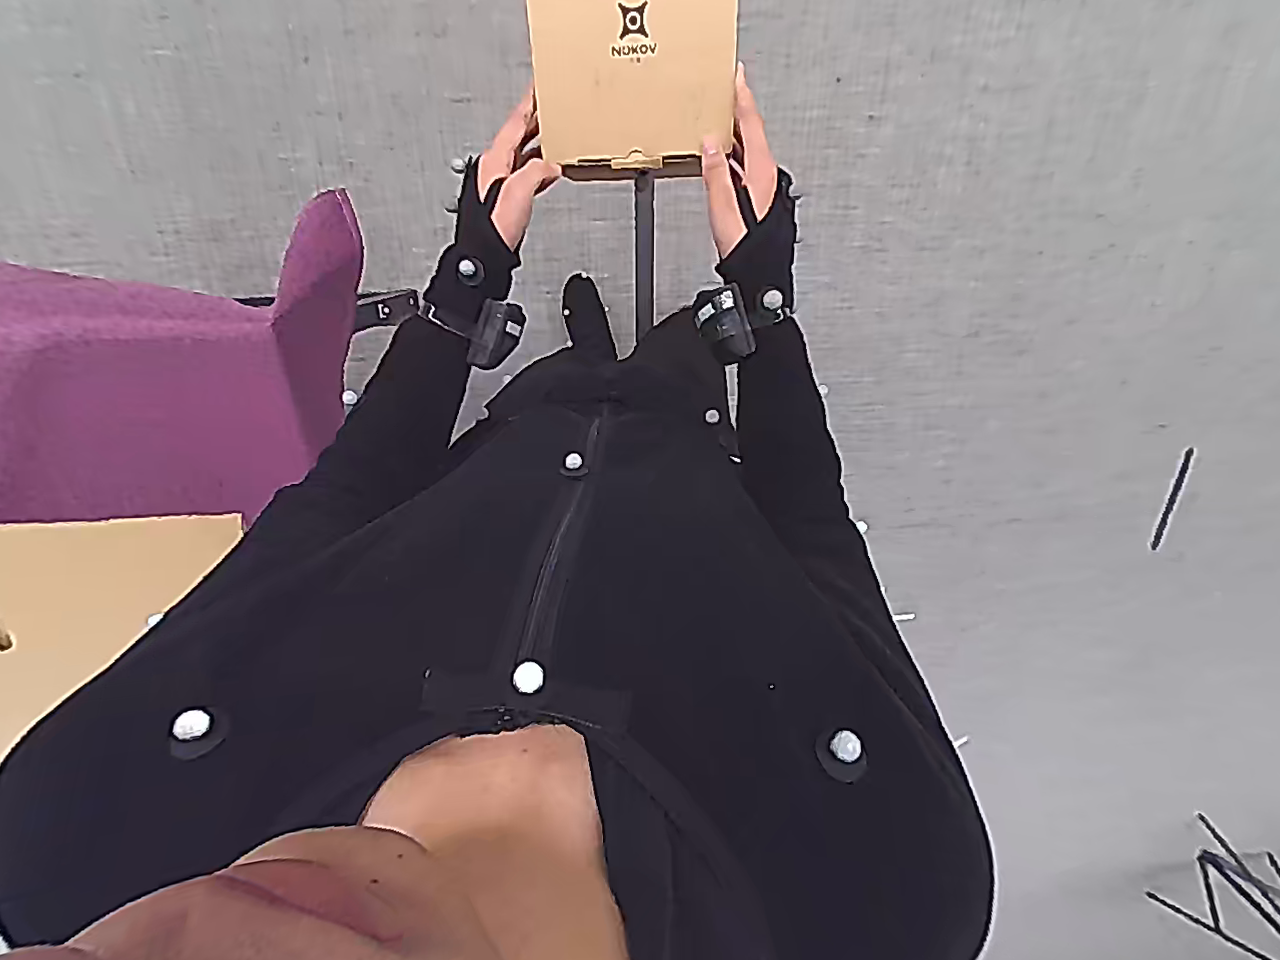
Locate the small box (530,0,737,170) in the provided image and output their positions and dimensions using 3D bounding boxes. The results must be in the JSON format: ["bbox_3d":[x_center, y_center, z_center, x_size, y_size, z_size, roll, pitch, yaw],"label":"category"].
[{"bbox_3d":[0.000,-0.393,0.503,0.168,0.176,0.179,0,115,3],"label":"small box"}]
